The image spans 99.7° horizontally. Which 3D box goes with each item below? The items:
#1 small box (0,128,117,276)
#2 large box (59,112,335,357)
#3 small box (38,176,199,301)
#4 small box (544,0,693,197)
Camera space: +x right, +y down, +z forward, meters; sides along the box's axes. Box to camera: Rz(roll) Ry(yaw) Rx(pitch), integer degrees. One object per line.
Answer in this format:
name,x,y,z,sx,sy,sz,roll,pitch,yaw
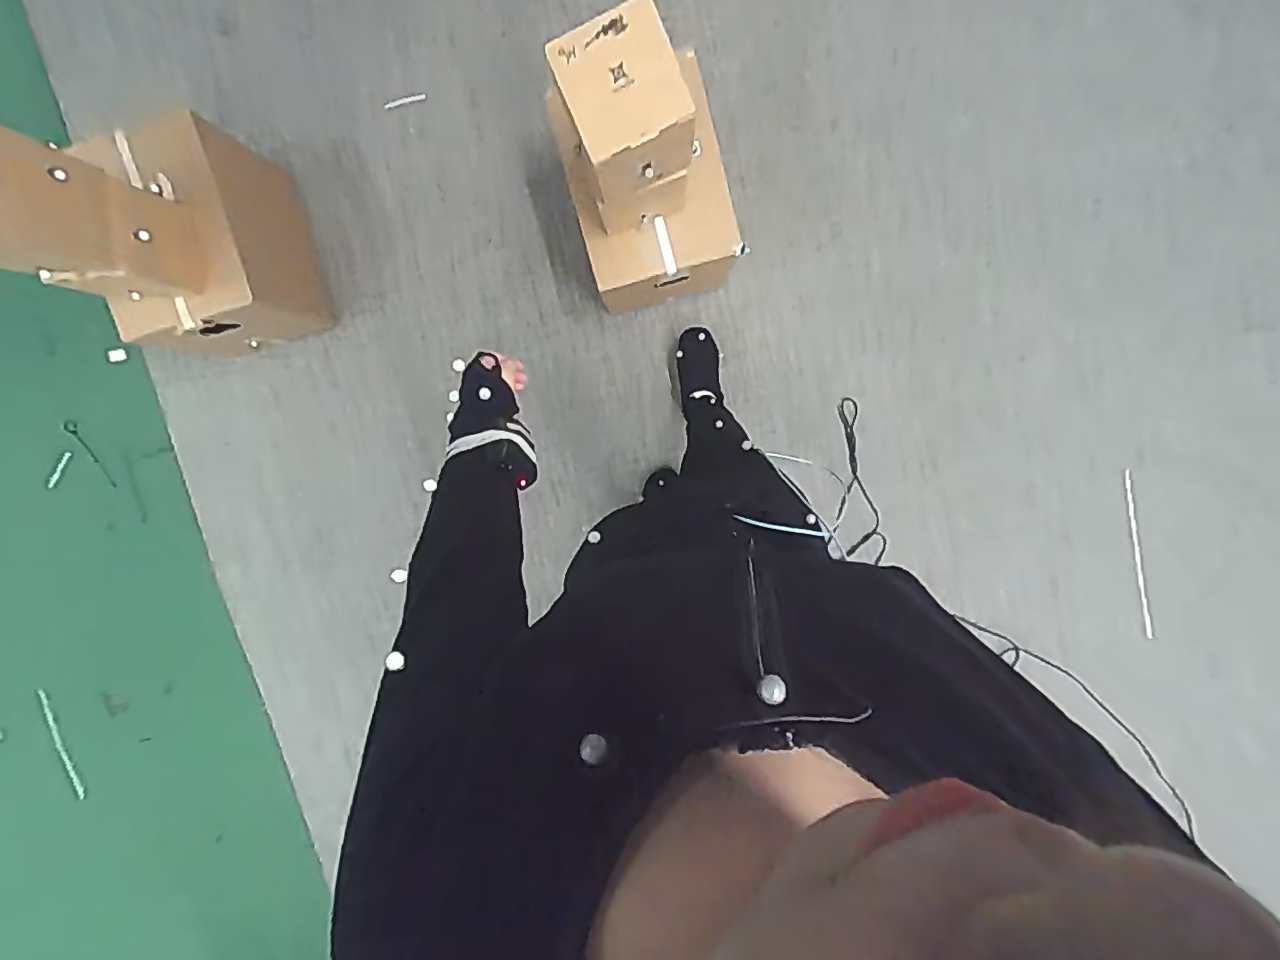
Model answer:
small box,-1.021,-0.444,0.883,0.168,0.176,0.179,0,99,3
large box,-1.009,-0.540,1.279,0.320,0.320,0.408,-15,96,3
small box,-1.008,-0.458,1.045,0.168,0.176,0.179,-4,98,2
small box,-0.025,-0.570,0.840,0.168,0.176,0.179,-23,97,6
